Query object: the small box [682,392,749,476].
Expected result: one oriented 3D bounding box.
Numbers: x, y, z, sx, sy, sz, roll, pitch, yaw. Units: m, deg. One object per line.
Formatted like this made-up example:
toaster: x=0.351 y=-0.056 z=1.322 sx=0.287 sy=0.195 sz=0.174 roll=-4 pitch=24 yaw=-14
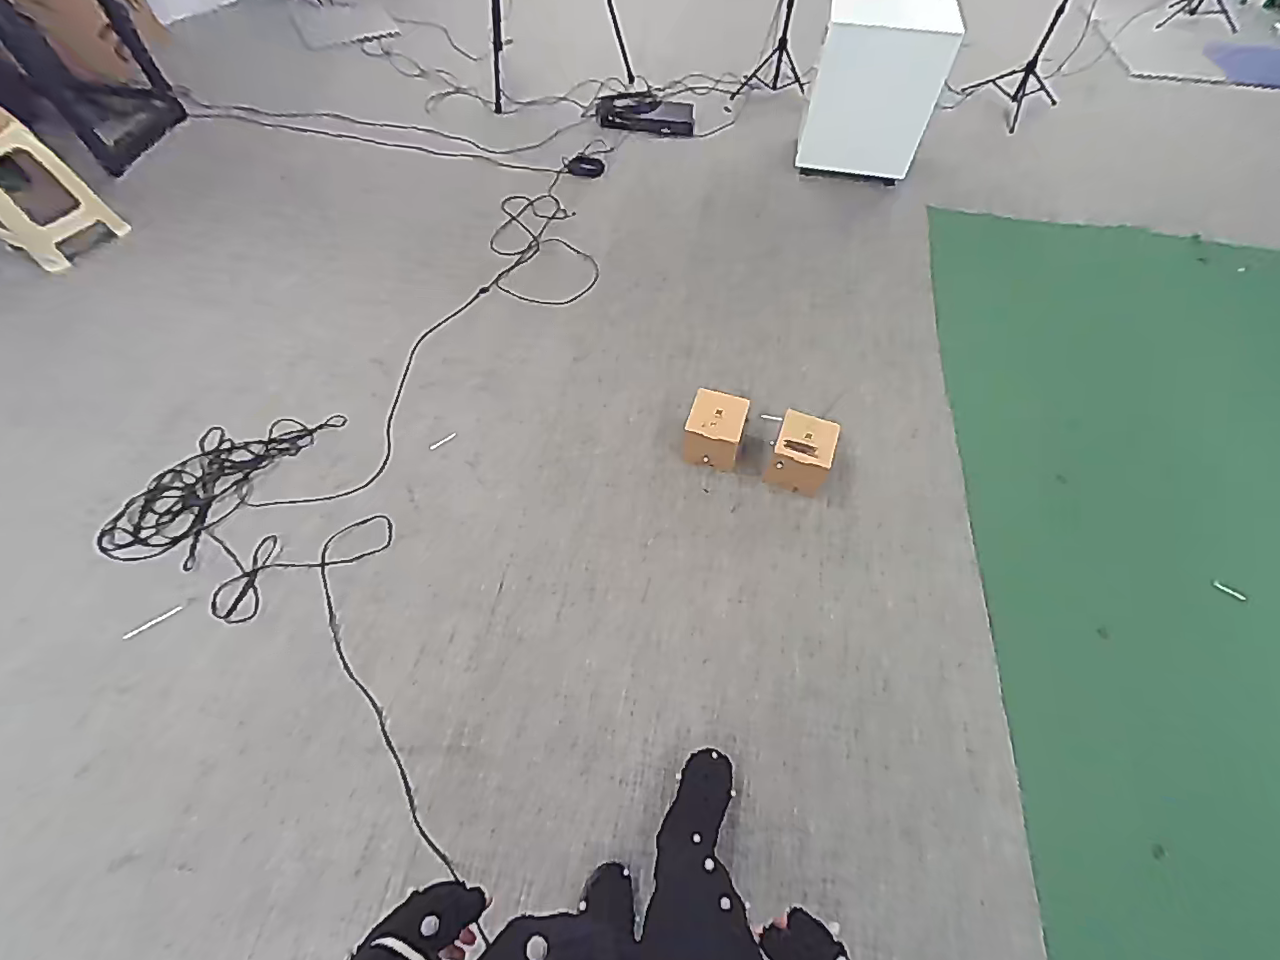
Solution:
small box: x=0.233 y=-0.142 z=1.699 sx=0.168 sy=0.176 sz=0.179 roll=15 pitch=59 yaw=10
